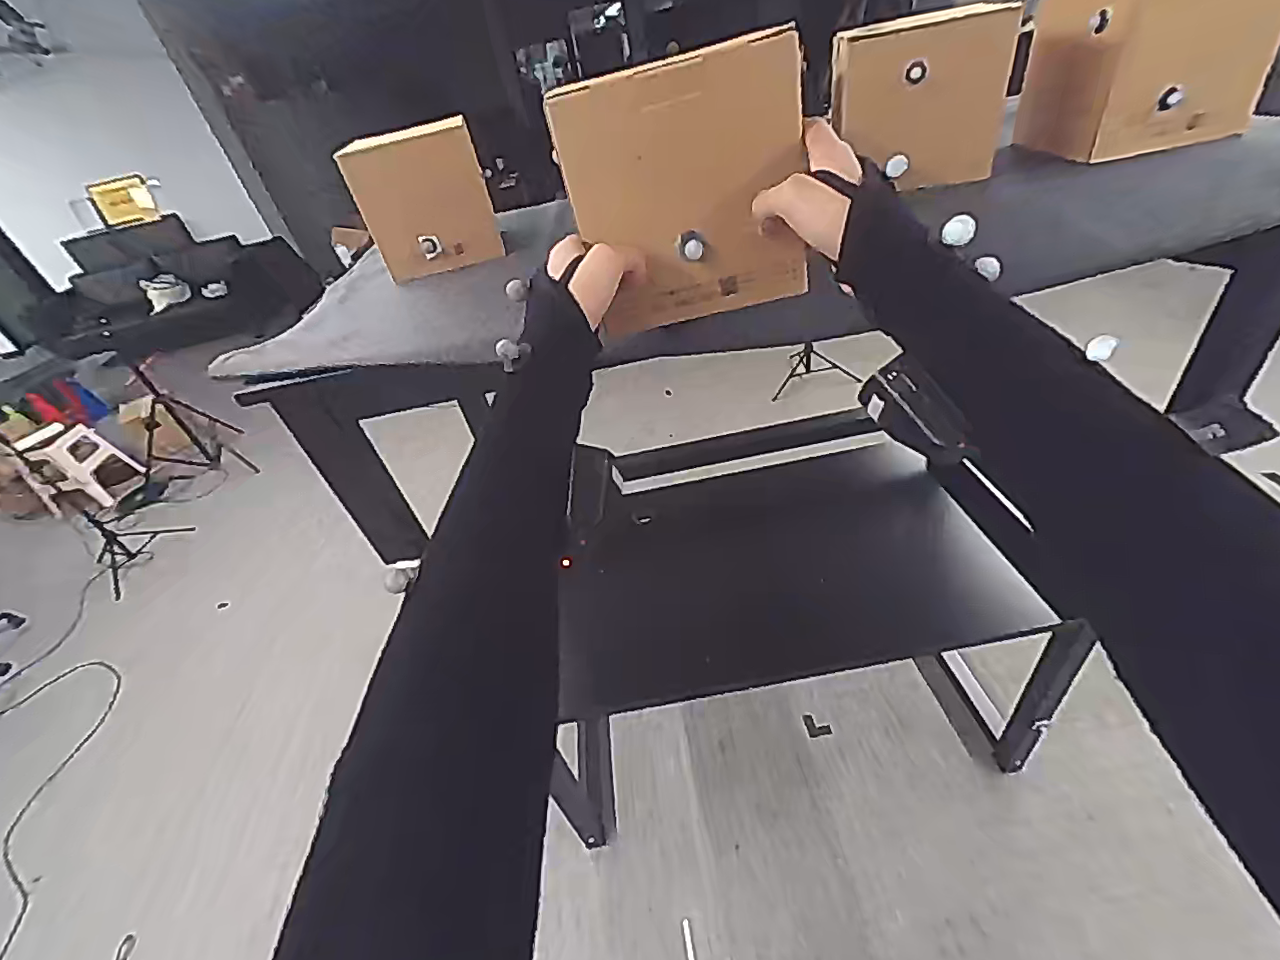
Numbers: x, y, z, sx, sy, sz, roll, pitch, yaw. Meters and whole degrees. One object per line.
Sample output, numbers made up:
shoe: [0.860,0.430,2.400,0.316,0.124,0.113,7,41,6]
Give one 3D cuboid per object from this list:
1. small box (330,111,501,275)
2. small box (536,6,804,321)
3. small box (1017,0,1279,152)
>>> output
small box: [-0.310,-0.416,0.784,0.168,0.176,0.179,-18,39,-5]
small box: [0.030,-0.250,0.442,0.168,0.176,0.179,-11,37,7]
small box: [0.585,-0.502,0.633,0.168,0.176,0.179,-8,39,7]
